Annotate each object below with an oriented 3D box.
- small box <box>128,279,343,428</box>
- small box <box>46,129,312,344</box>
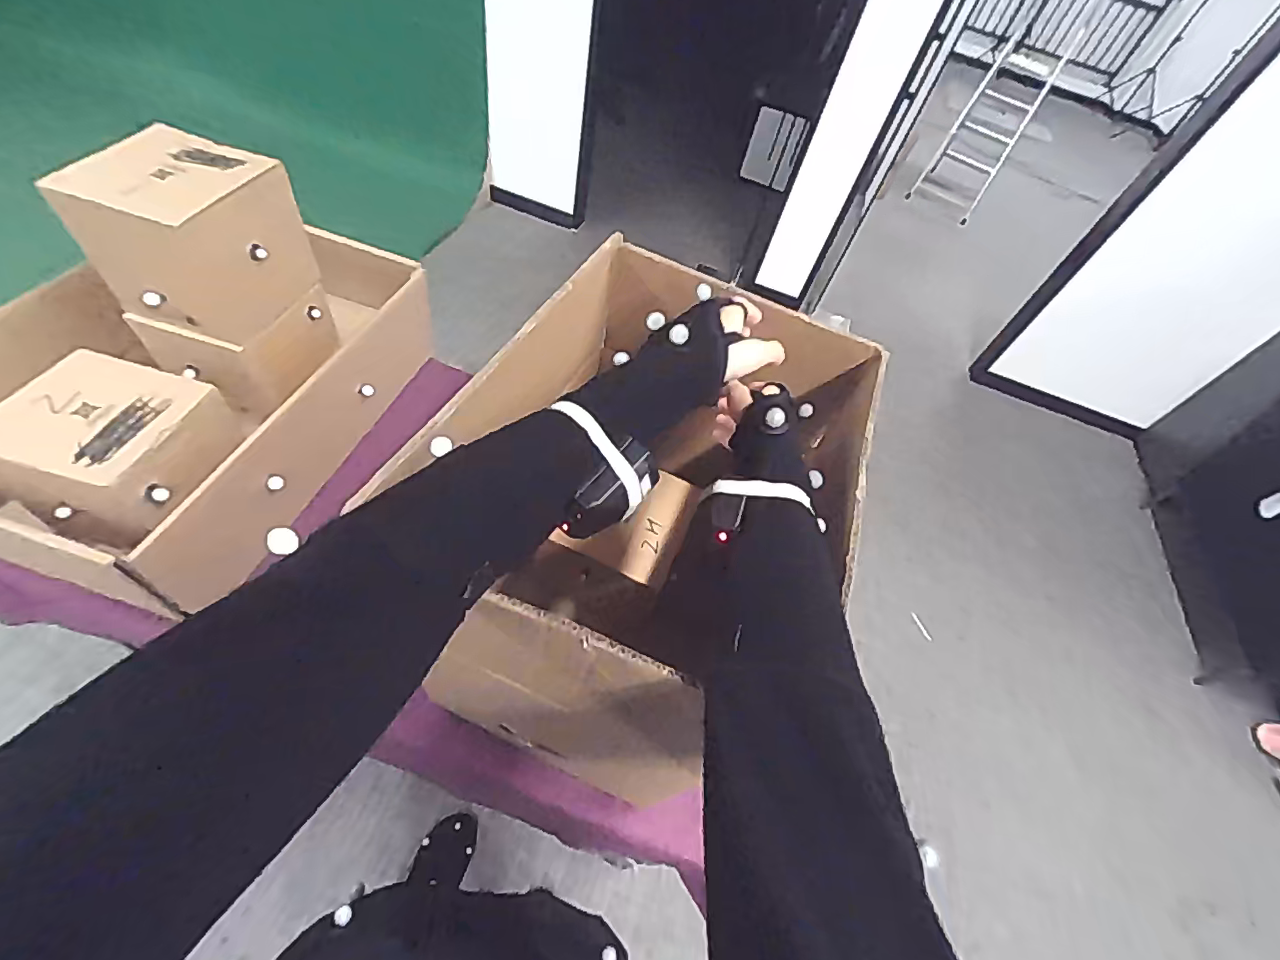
[{"bbox_3d":[-0.589,-0.207,0.822,0.168,0.176,0.179,17,52,1],"label":"small box"},{"bbox_3d":[-0.559,-0.308,0.696,0.168,0.176,0.179,17,54,2],"label":"small box"}]
